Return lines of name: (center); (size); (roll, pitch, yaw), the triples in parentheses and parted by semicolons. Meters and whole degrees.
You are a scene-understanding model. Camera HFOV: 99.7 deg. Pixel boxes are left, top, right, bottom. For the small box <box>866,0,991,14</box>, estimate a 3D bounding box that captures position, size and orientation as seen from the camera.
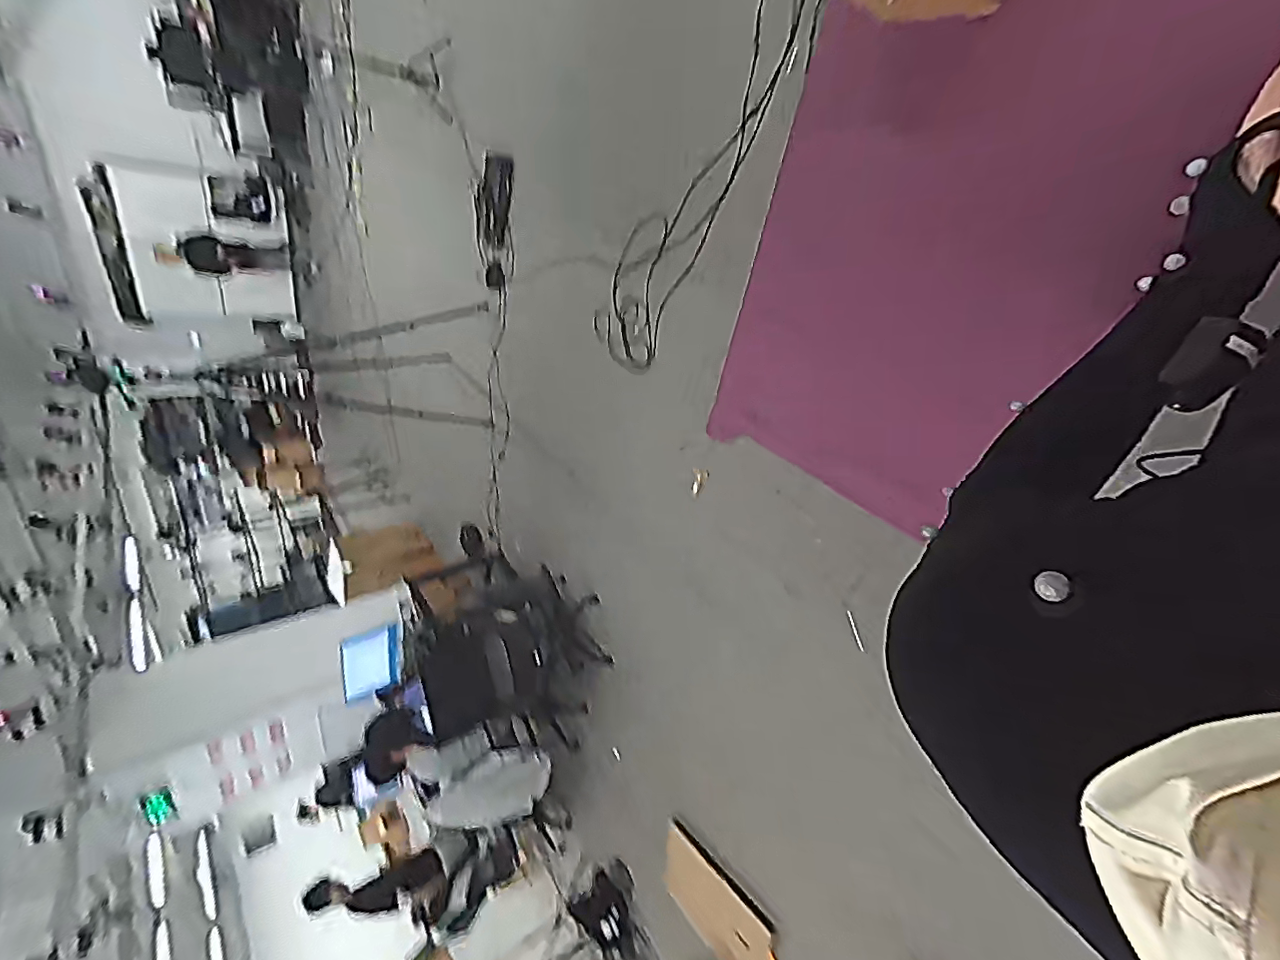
small box: (0.375, -0.726, 0.689); (0.179, 0.176, 0.168); (36, 128, 37)
